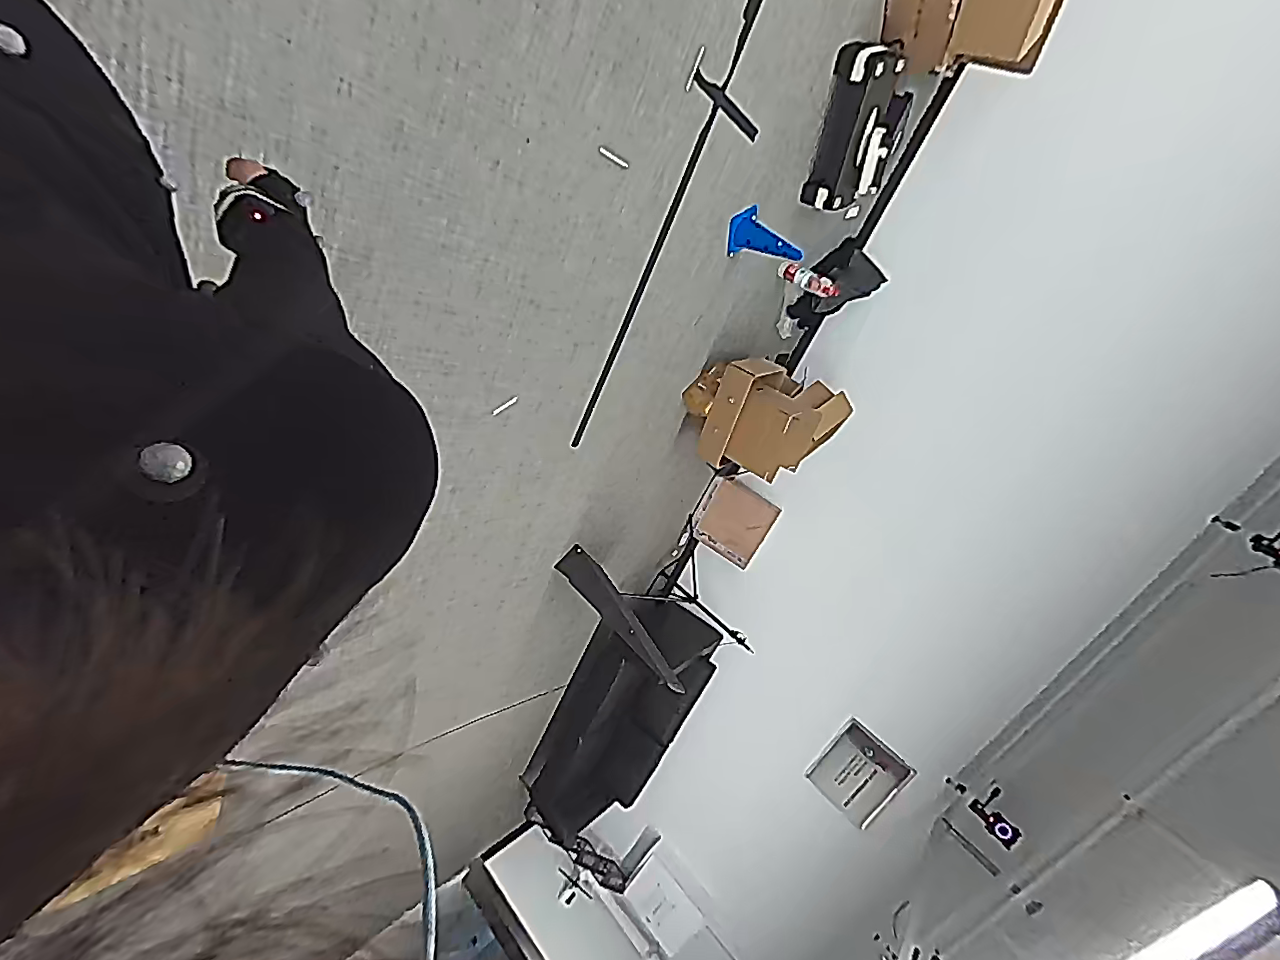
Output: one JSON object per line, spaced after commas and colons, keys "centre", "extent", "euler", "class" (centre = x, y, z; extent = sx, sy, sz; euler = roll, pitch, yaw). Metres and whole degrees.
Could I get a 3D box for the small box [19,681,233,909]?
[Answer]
{"centre": [-0.699, 0.409, 0.737], "extent": [0.179, 0.176, 0.168], "euler": [-6, 128, -54], "class": "small box"}
